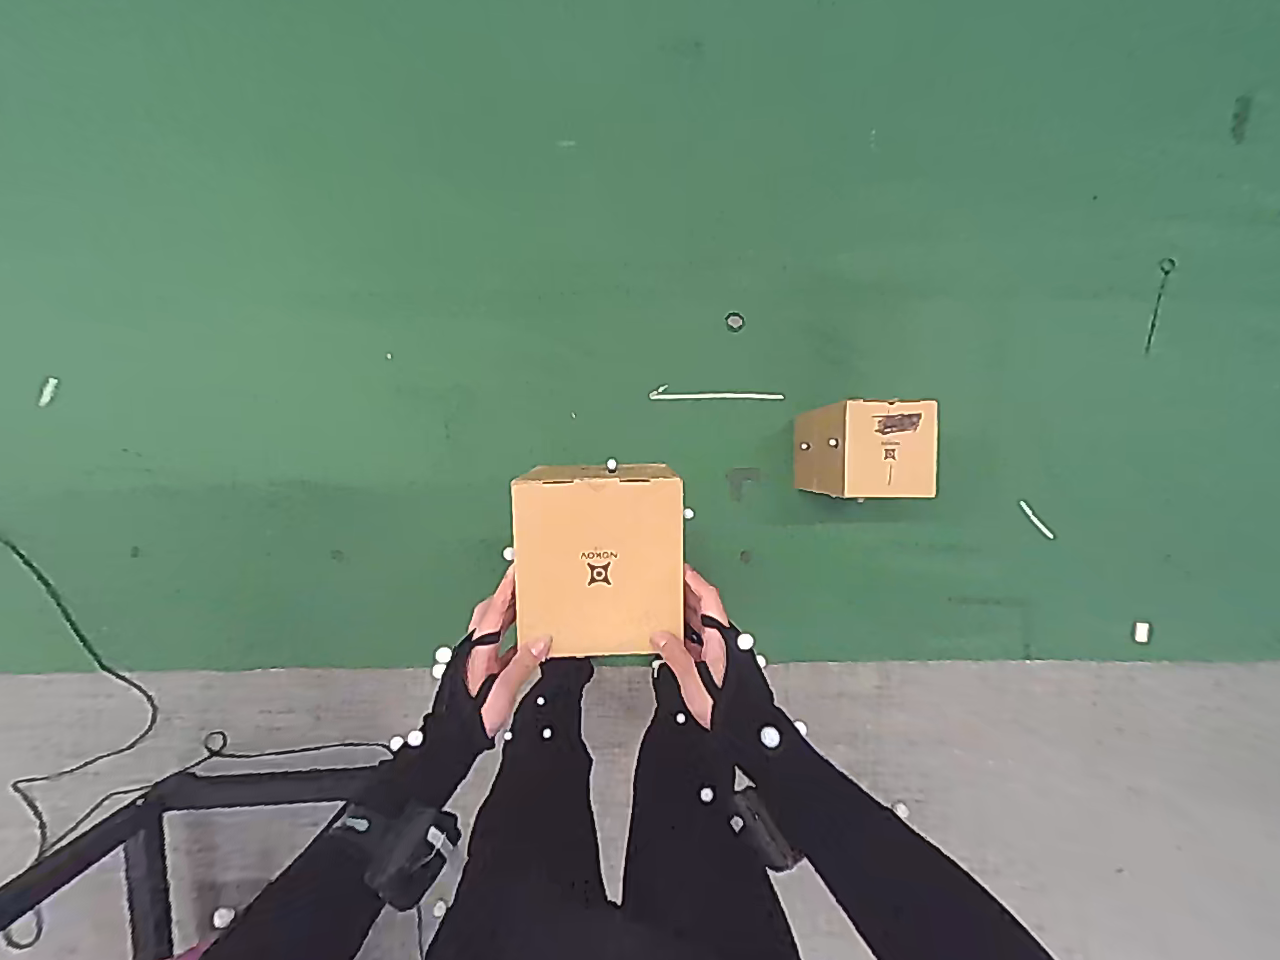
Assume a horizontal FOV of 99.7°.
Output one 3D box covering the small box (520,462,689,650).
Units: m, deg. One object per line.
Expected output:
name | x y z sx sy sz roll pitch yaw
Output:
small box | -0.037 0.073 0.606 0.168 0.176 0.179 -1 95 -3

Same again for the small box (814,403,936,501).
small box | 0.446 -0.052 1.049 0.168 0.176 0.179 1 92 0

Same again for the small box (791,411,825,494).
small box | 0.443 -0.056 1.214 0.168 0.176 0.179 1 92 0
